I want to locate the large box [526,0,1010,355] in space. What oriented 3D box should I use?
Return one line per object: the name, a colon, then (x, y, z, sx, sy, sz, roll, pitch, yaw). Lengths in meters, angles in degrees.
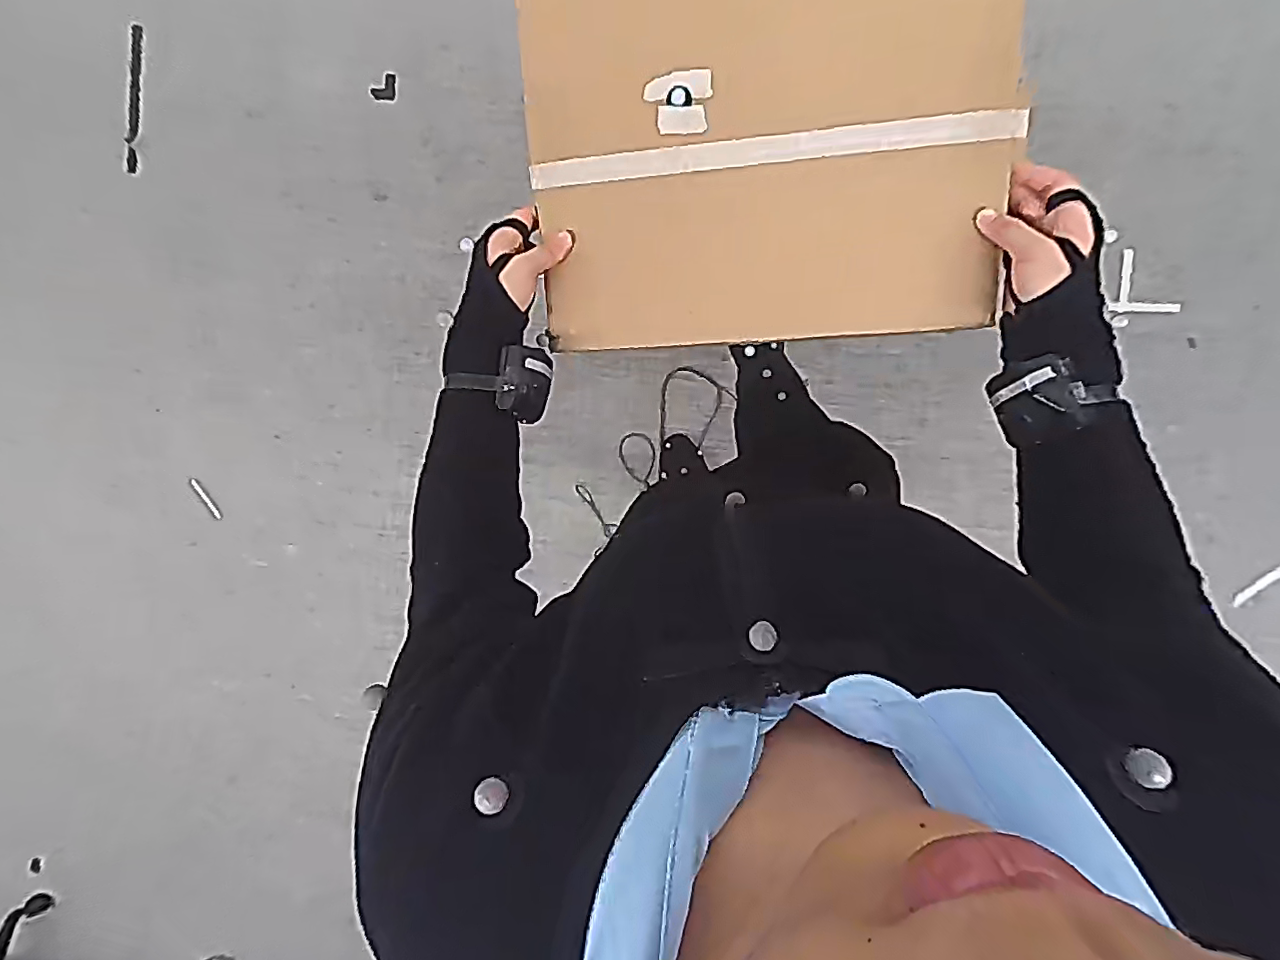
large box: (0.128, -0.319, 0.621, 0.408, 0.320, 0.320, -2, 103, 10)
